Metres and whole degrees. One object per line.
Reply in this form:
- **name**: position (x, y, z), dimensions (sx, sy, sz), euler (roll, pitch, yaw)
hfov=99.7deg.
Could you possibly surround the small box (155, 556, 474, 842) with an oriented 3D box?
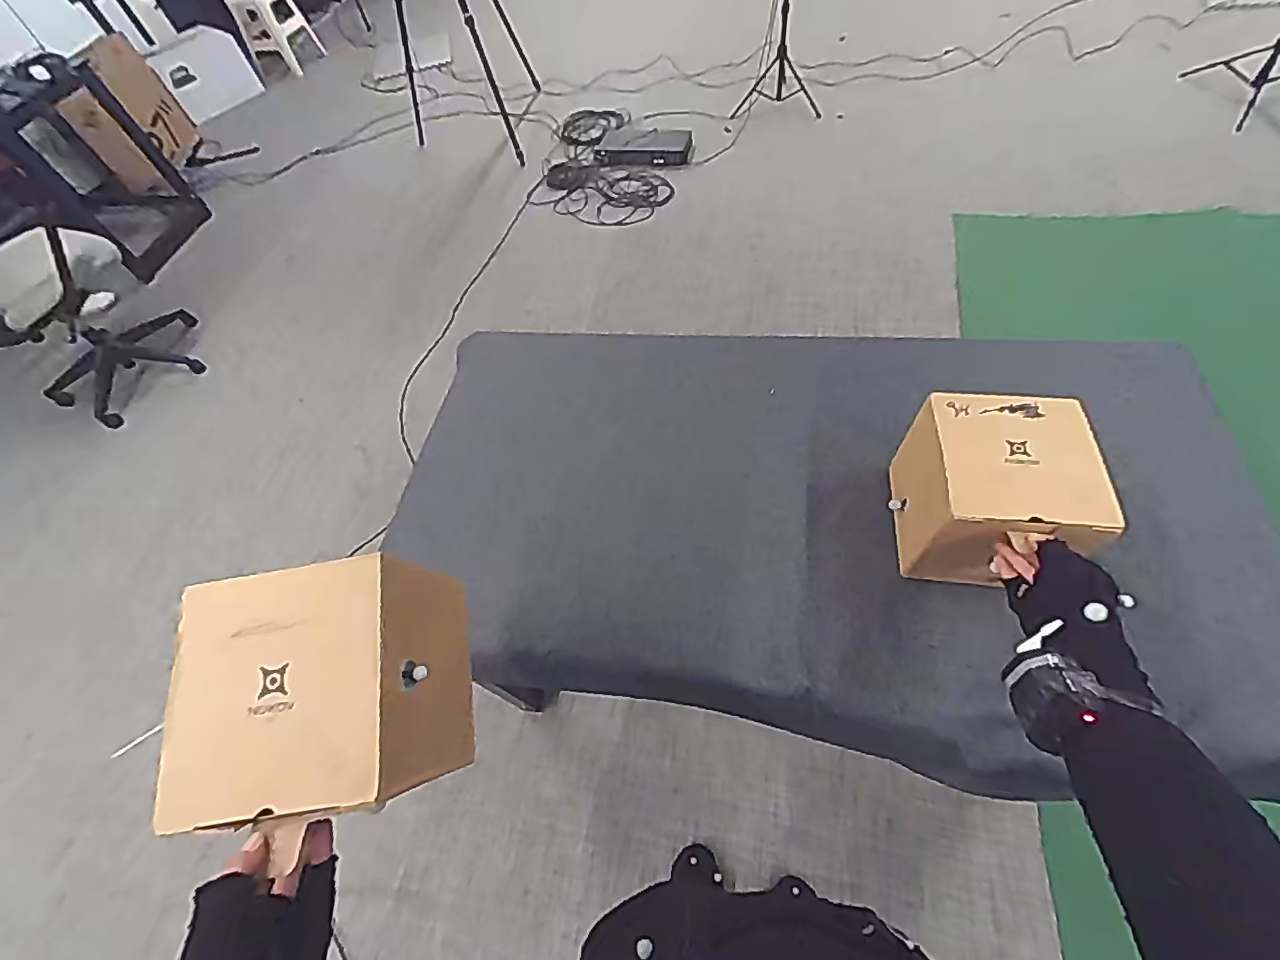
- **small box**: position (-0.253, 0.177, 0.465), dimensions (0.168, 0.176, 0.179), euler (-11, 70, 2)

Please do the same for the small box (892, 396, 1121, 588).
- **small box**: position (0.426, 0.020, 0.666), dimensions (0.168, 0.176, 0.179), euler (5, 59, 8)
